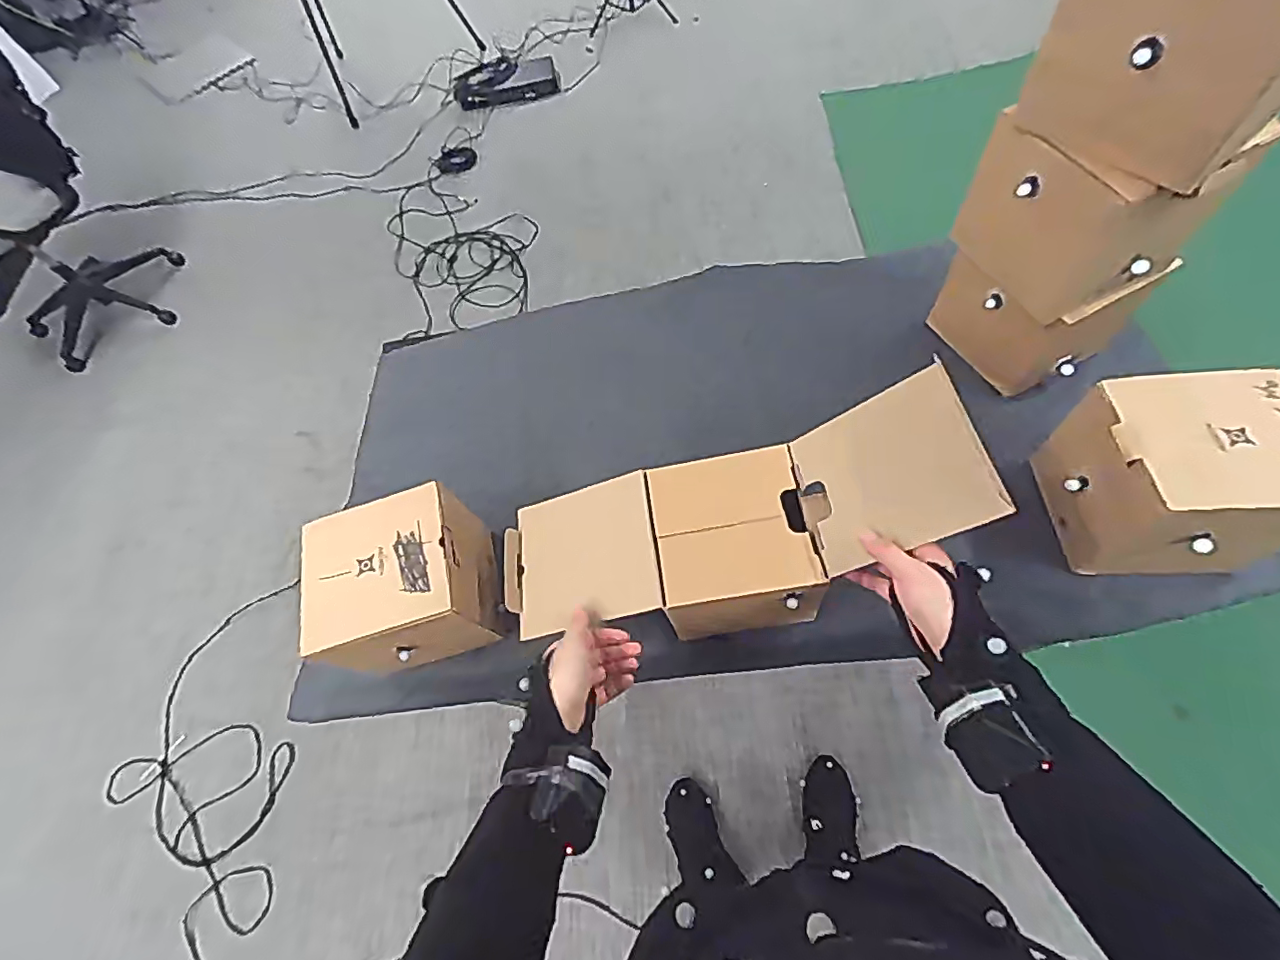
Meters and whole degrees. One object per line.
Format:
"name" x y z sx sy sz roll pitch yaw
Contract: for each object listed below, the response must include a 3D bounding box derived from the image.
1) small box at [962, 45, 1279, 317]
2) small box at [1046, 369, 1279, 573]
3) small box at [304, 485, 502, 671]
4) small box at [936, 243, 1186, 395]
"small box" 0.498 -0.318 0.594 0.168 0.176 0.179 -25 63 1
"small box" 0.594 0.000 0.601 0.179 0.176 0.168 -3 60 9
"small box" -0.289 0.132 0.688 0.179 0.176 0.168 -18 63 1
"small box" 0.546 -0.250 0.738 0.168 0.176 0.179 -27 64 -2
